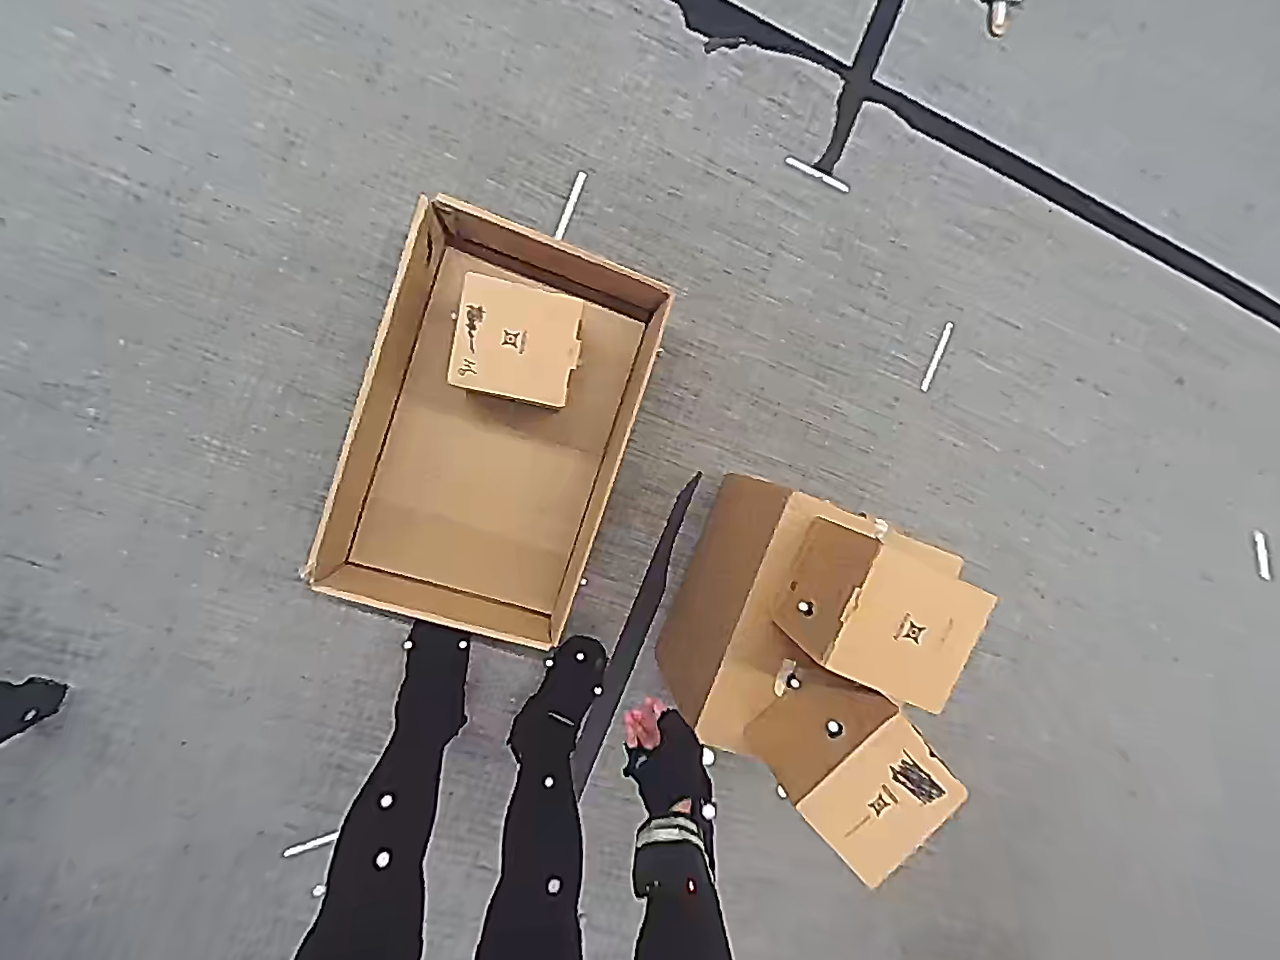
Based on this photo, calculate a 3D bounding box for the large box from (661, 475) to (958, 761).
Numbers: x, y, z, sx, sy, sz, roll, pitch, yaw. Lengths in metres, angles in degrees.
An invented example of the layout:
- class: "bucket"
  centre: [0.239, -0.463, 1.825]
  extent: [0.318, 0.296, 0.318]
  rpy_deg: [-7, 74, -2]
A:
- class: "large box"
  centre: [0.267, 0.236, 0.967]
  extent: [0.320, 0.320, 0.408]
  rpy_deg: [20, 93, -9]

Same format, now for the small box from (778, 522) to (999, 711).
- class: "small box"
  centre: [0.313, 0.167, 0.721]
  extent: [0.179, 0.176, 0.168]
  rpy_deg: [24, 94, -11]

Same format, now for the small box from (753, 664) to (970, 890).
- class: "small box"
  centre: [0.286, 0.381, 0.734]
  extent: [0.179, 0.176, 0.168]
  rpy_deg: [-41, 100, -3]

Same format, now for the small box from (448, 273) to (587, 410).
- class: "small box"
  centre: [-0.192, -0.211, 0.870]
  extent: [0.179, 0.176, 0.168]
  rpy_deg: [11, 94, -10]
